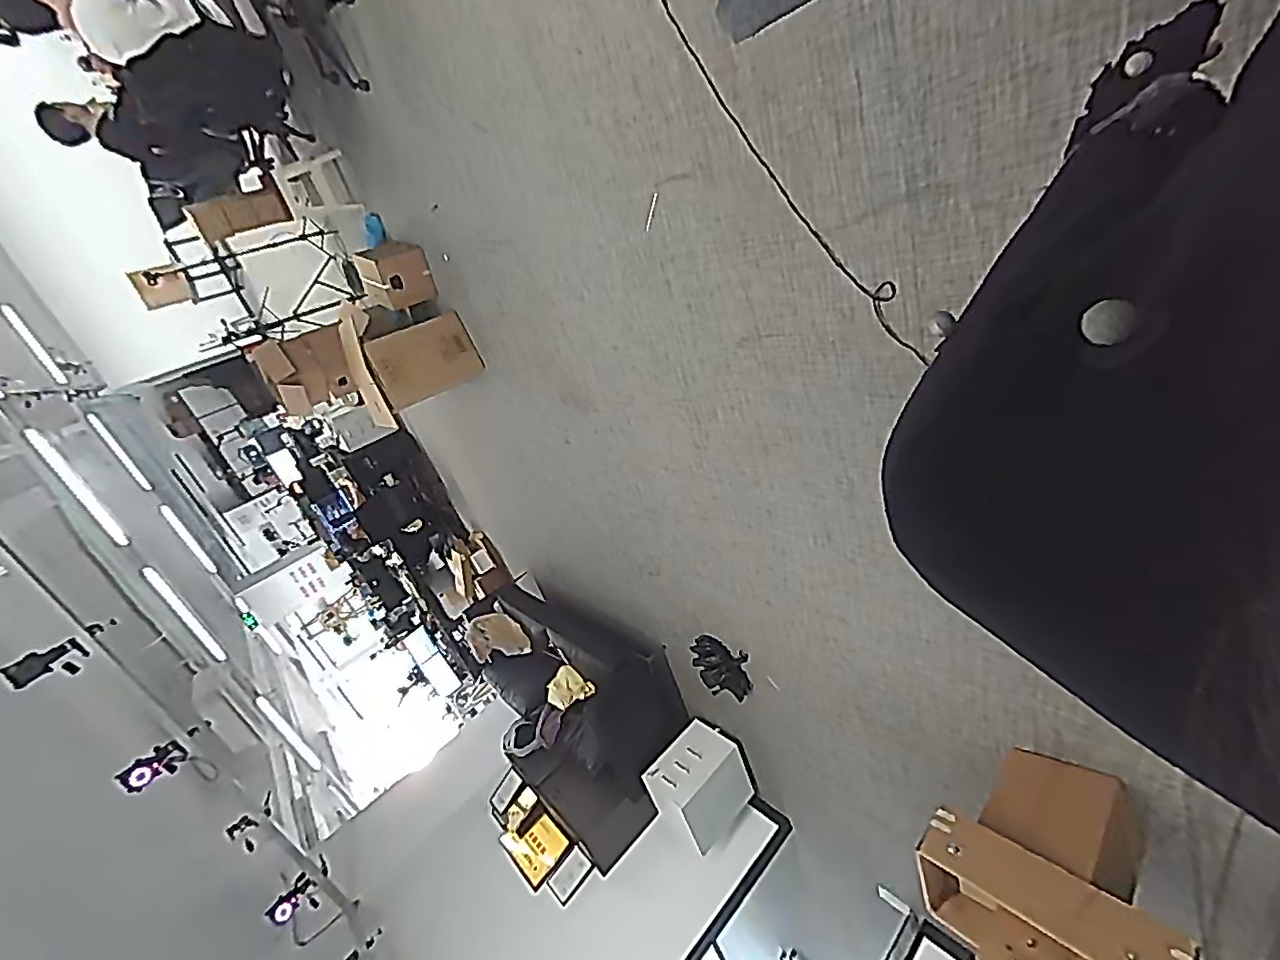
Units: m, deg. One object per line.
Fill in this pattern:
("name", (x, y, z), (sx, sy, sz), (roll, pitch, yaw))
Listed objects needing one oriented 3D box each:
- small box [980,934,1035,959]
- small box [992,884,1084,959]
("small box", (1.039, 1.421, 1.485), (0.168, 0.176, 0.179), (4, 122, 53))
("small box", (1.155, 1.337, 1.565), (0.168, 0.176, 0.179), (2, 122, 53))
